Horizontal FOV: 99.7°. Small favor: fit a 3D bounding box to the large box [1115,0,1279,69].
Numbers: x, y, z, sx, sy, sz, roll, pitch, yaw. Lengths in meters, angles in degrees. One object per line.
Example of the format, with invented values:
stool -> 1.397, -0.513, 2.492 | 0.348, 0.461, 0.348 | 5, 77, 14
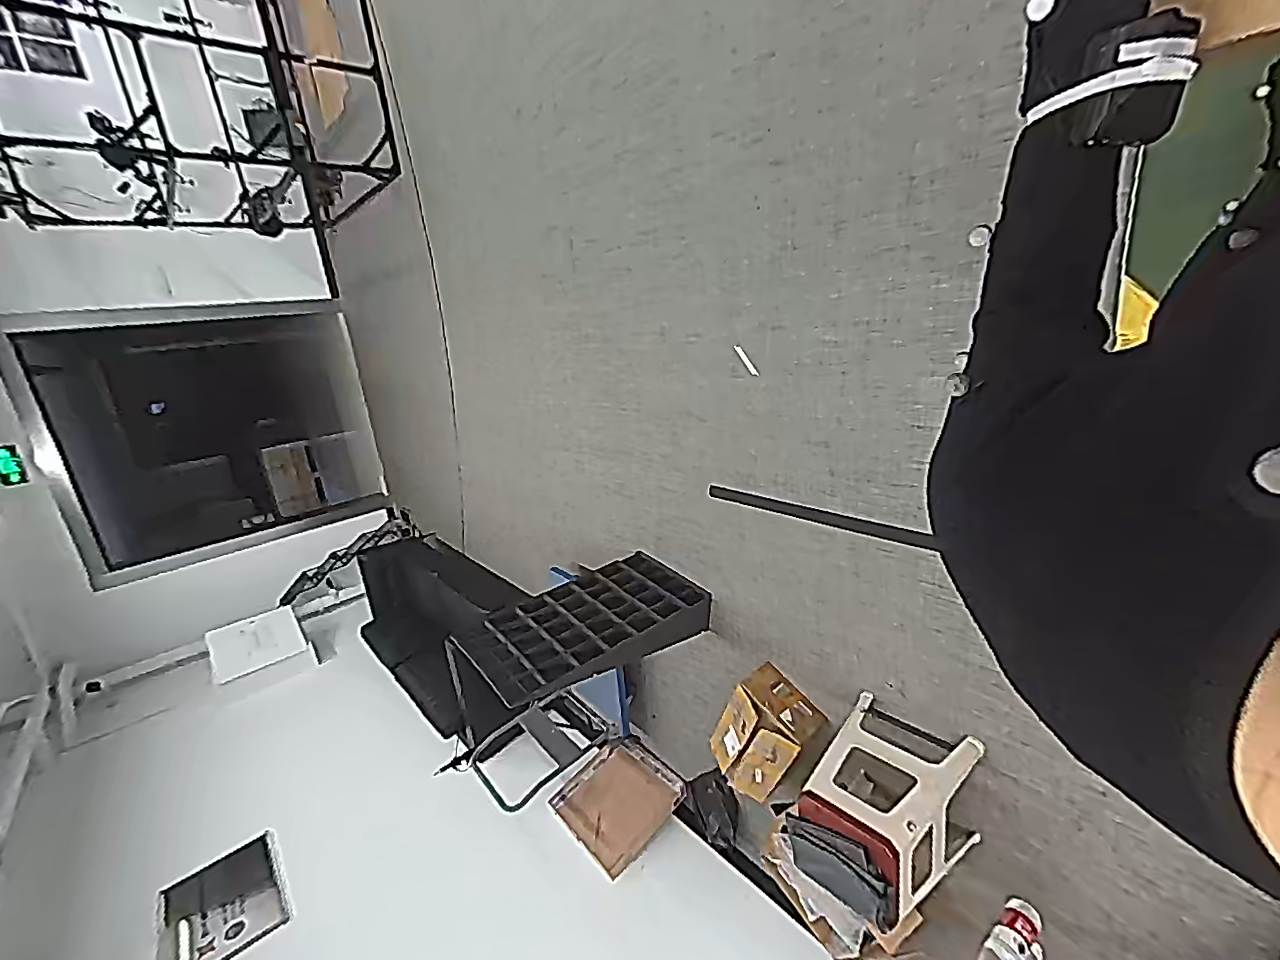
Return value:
large box -> 0.553, -0.486, 0.291 | 0.408, 0.320, 0.320 | 11, 124, 46
